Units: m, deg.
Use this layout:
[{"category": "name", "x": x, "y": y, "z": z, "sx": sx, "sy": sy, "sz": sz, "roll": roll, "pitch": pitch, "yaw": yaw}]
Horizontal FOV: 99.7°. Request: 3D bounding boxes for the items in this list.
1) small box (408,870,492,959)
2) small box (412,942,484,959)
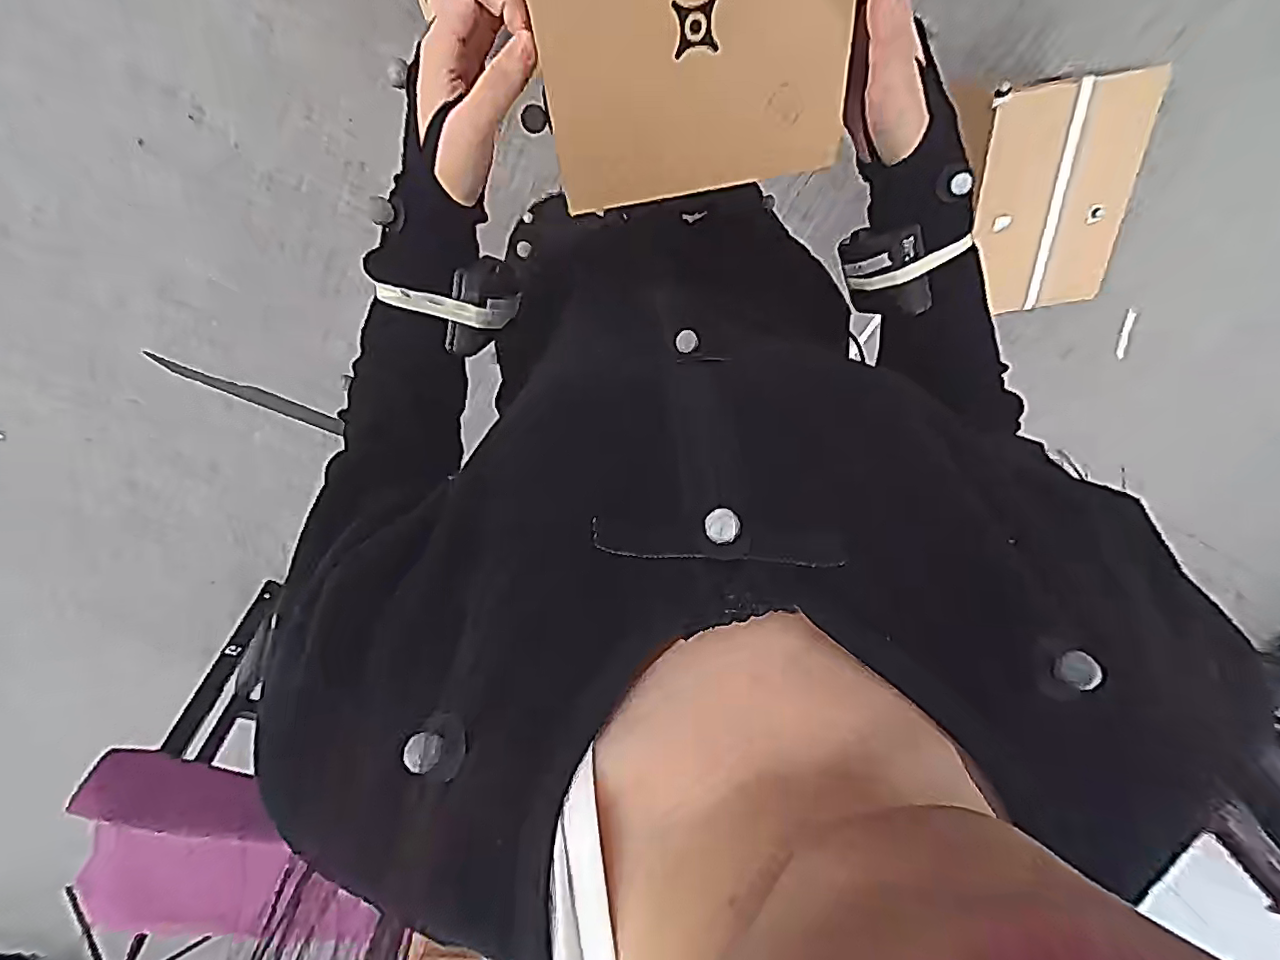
[{"category": "small box", "x": -0.519, "y": 1.209, "z": 1.493, "sx": 0.168, "sy": 0.176, "sz": 0.179, "roll": 22, "pitch": 120, "yaw": -21}, {"category": "small box", "x": -0.496, "y": 1.286, "z": 1.349, "sx": 0.168, "sy": 0.176, "sz": 0.179, "roll": 18, "pitch": 121, "yaw": -18}]
